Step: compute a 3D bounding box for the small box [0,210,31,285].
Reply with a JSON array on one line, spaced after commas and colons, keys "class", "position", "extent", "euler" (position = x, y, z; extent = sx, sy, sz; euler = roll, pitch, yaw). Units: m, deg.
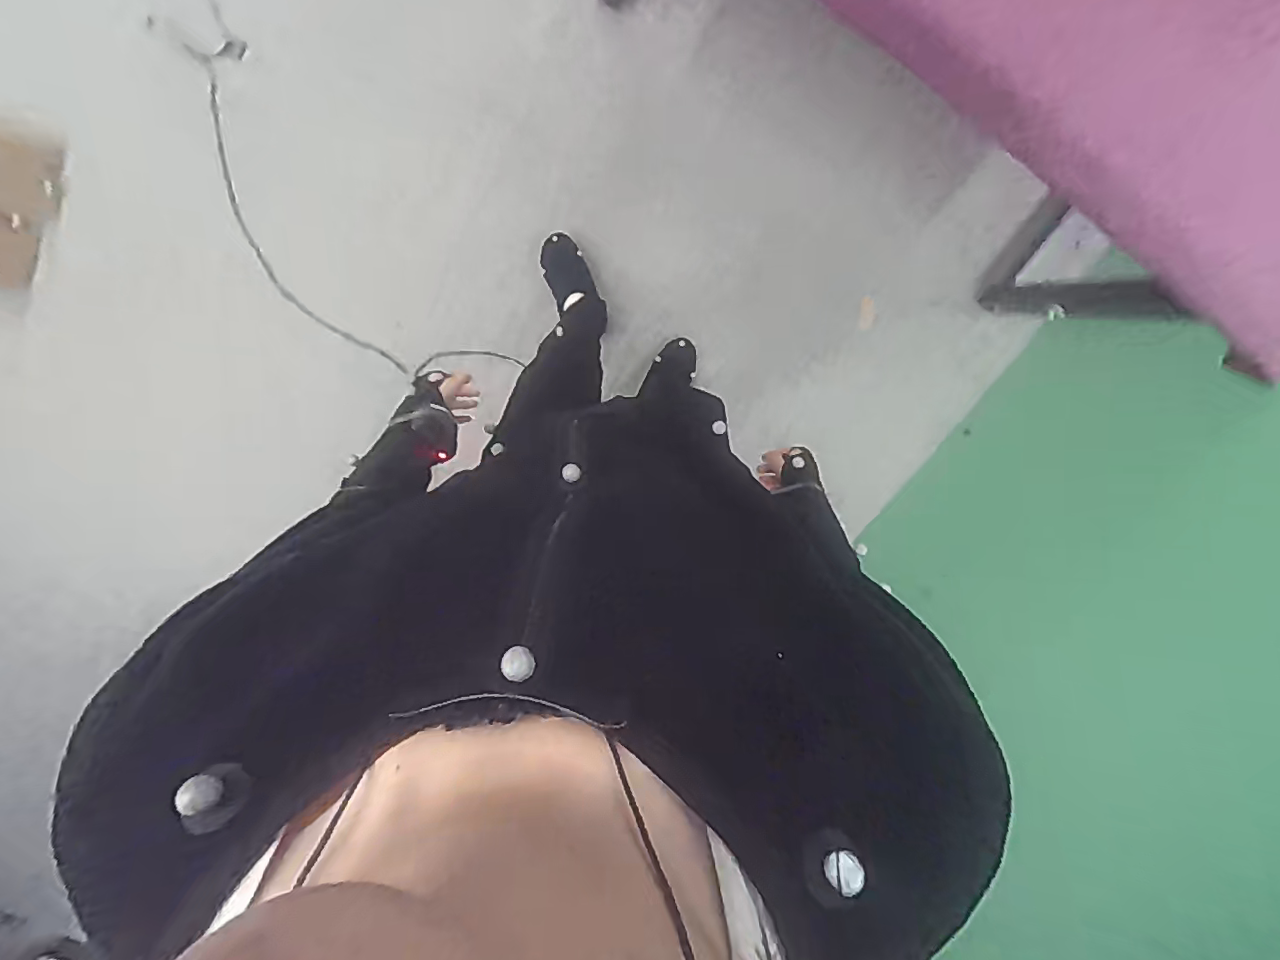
[{"class": "small box", "position": [-1.679, -0.602, 1.331], "extent": [0.168, 0.176, 0.179], "euler": [32, 108, -7]}]

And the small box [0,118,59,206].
[{"class": "small box", "position": [-1.543, -0.765, 1.269], "extent": [0.179, 0.176, 0.168], "euler": [22, 110, -5]}]
